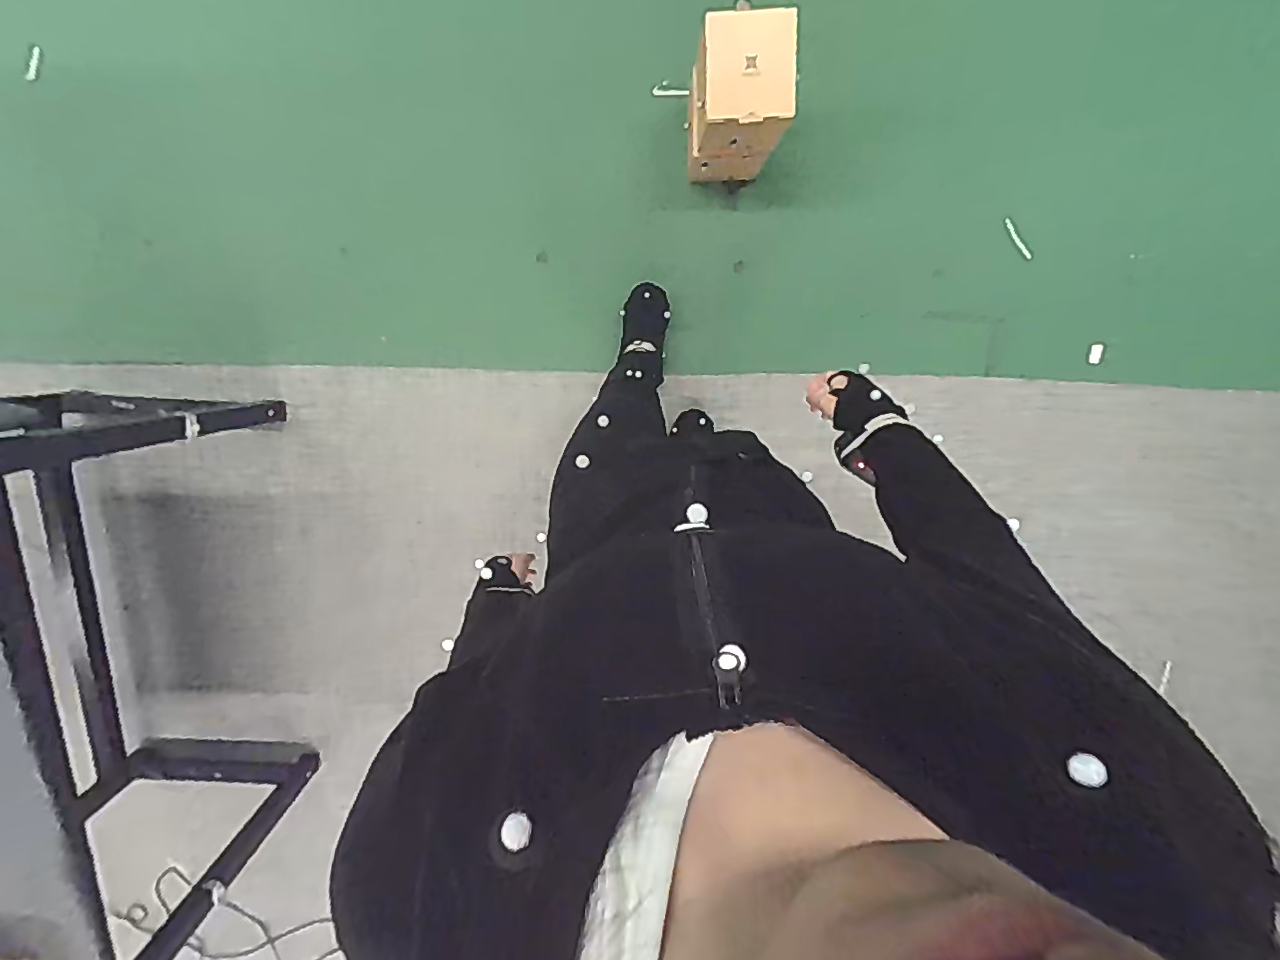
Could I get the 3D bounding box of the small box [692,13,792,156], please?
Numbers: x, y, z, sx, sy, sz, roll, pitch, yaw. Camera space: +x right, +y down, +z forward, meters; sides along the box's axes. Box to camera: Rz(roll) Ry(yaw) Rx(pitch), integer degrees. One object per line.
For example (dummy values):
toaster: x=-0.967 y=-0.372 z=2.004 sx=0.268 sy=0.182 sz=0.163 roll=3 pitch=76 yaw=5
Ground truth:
small box: x=0.192 y=-0.764 z=1.059 sx=0.168 sy=0.176 sz=0.179 roll=-3 pitch=103 yaw=0
